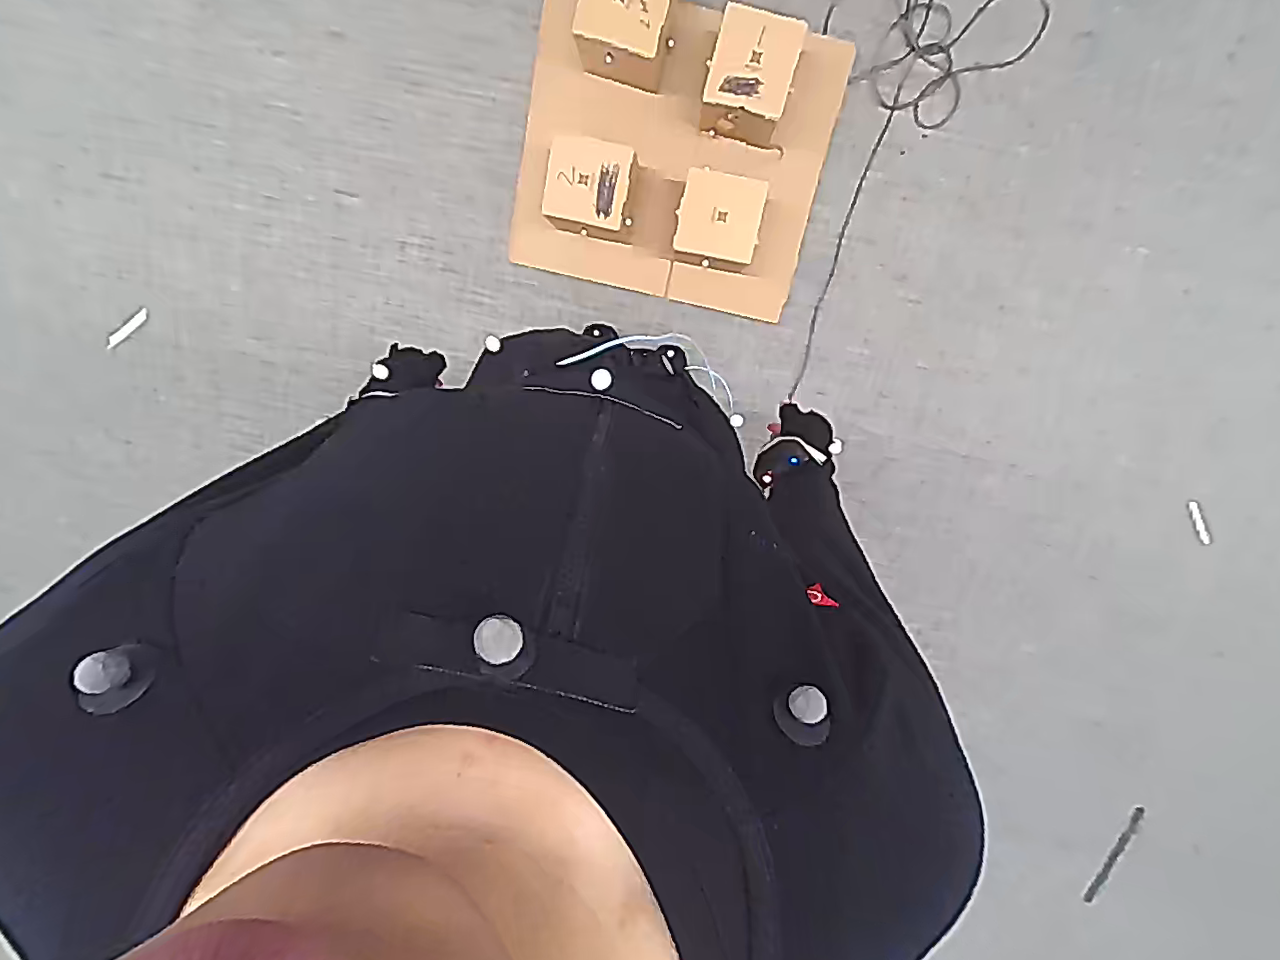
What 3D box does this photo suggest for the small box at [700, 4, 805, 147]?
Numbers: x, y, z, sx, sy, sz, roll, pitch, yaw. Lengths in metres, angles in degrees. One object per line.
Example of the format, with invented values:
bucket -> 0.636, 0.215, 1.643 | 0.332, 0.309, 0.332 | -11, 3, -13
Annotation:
small box -> 0.230, -0.846, 1.153 | 0.168, 0.176, 0.179 | 16, 105, 0

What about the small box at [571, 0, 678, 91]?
small box -> -0.027, -0.957, 1.132 | 0.179, 0.176, 0.168 | 17, 106, -2
